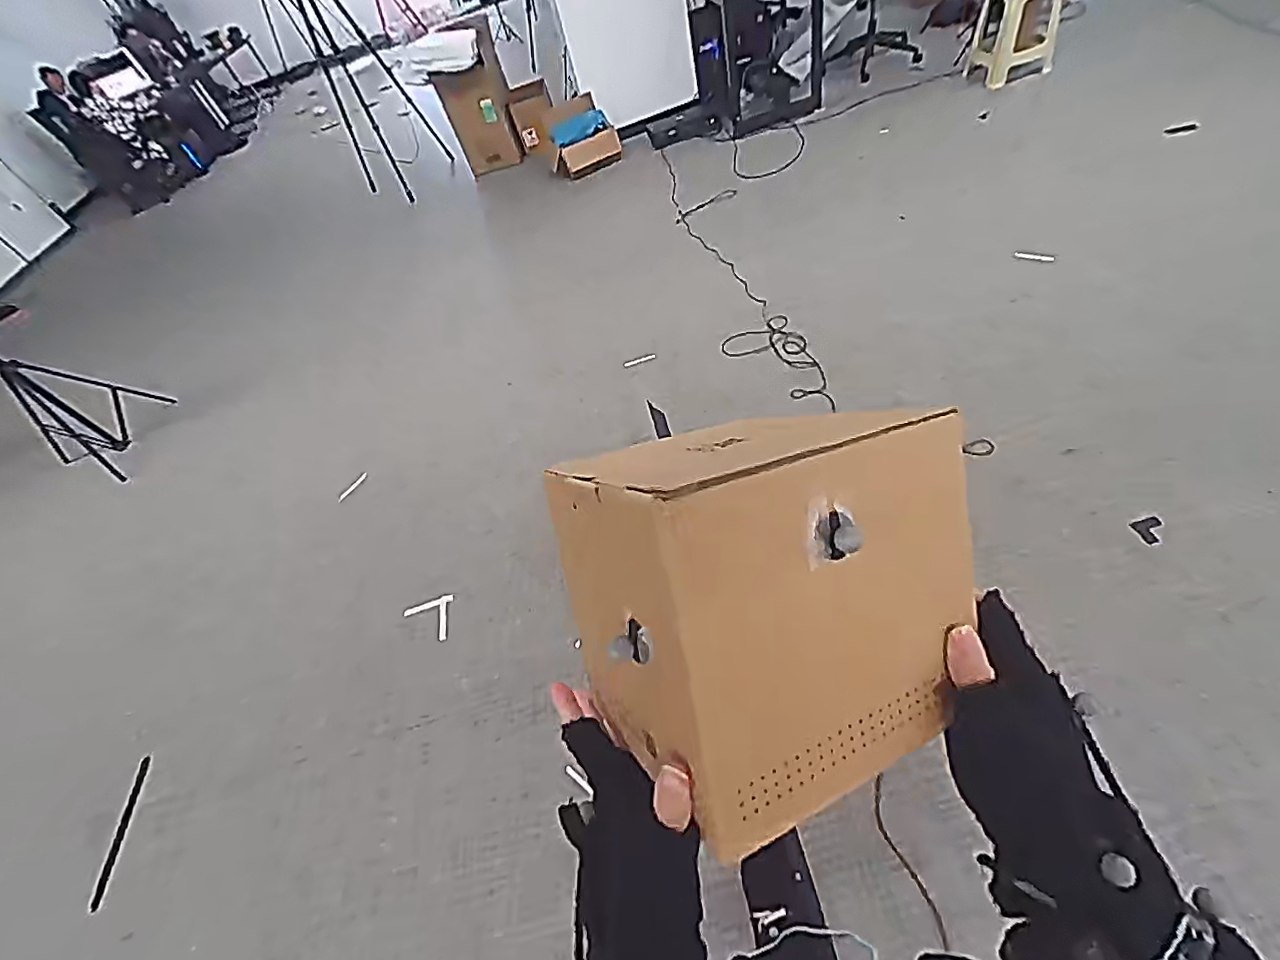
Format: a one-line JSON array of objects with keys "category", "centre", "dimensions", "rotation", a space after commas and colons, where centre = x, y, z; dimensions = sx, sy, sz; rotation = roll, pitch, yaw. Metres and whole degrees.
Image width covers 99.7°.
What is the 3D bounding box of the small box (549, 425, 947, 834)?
[{"category": "small box", "centre": [0.062, 0.068, 0.338], "dimensions": [0.179, 0.176, 0.168], "rotation": [-15, 10, -23]}]
